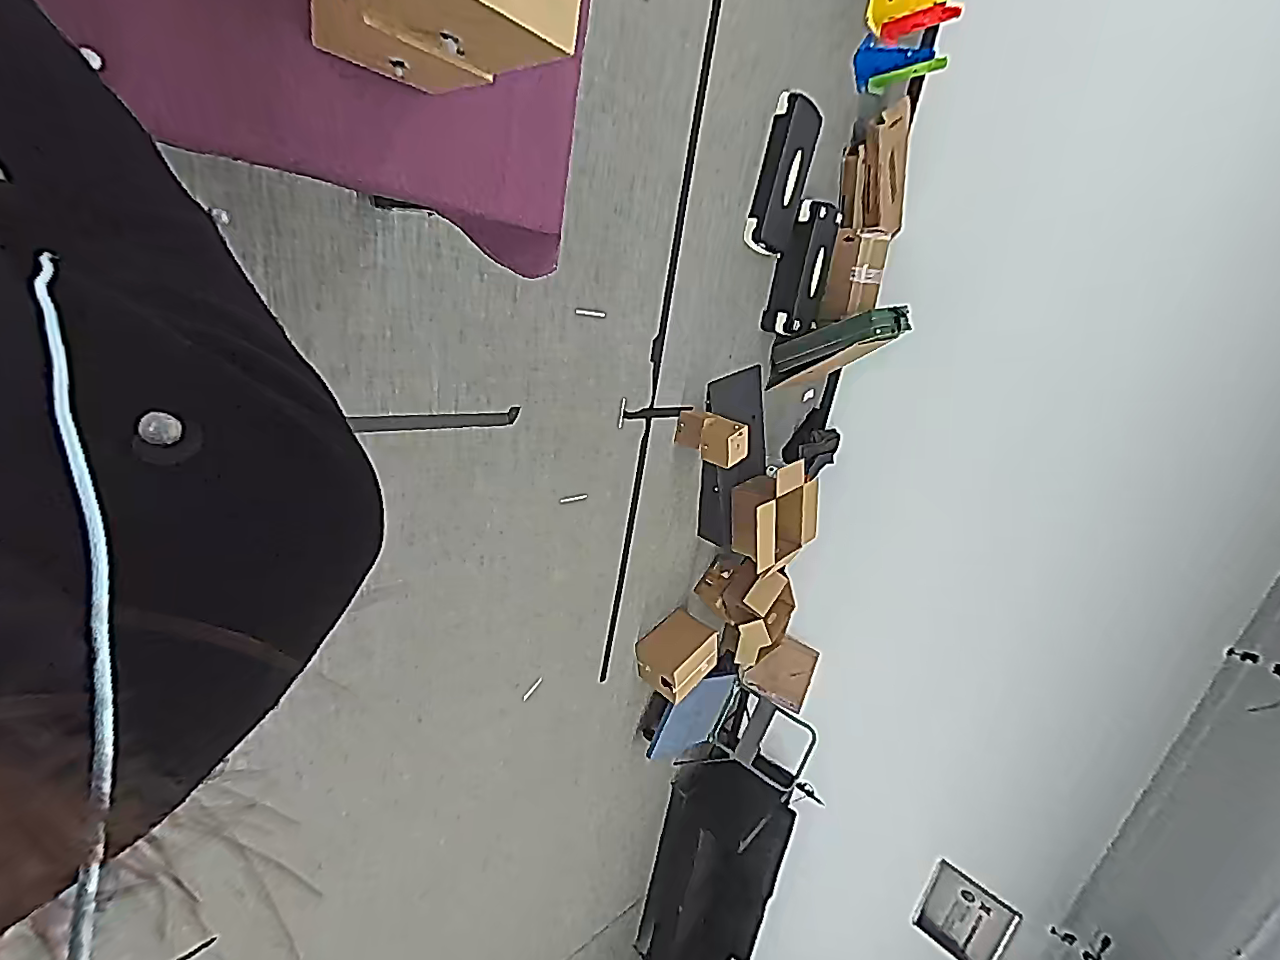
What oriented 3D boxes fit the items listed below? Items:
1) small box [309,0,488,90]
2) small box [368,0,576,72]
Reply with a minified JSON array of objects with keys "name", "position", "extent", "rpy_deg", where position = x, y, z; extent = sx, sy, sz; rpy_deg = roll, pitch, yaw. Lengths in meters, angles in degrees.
[{"name":"small box","position":[-0.300,-0.623,0.680],"extent":[0.168,0.176,0.179],"rpy_deg":[-11,118,-47]},{"name":"small box","position":[-0.179,-0.576,0.578],"extent":[0.168,0.176,0.179],"rpy_deg":[-10,118,-47]}]
